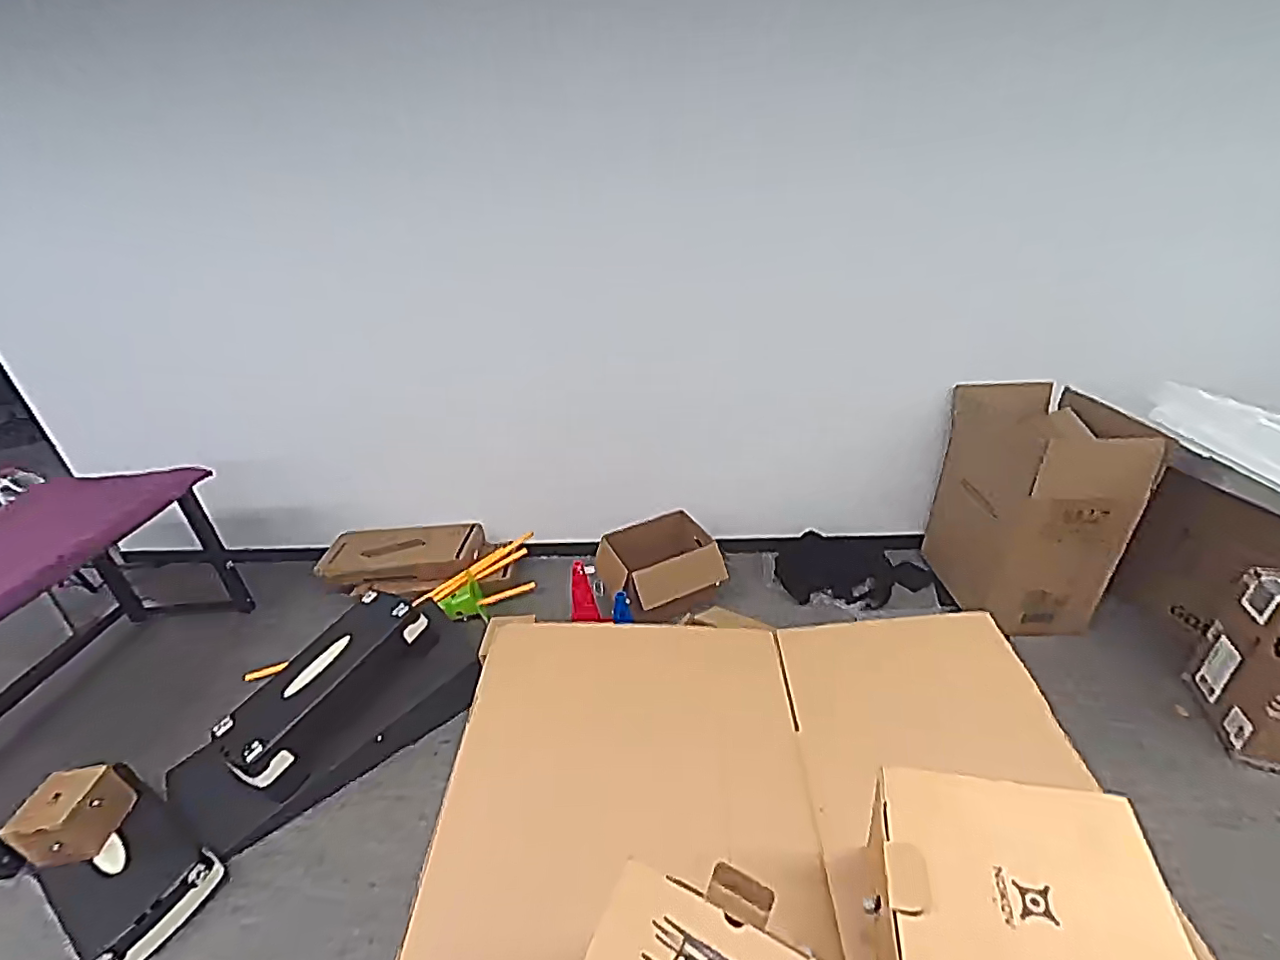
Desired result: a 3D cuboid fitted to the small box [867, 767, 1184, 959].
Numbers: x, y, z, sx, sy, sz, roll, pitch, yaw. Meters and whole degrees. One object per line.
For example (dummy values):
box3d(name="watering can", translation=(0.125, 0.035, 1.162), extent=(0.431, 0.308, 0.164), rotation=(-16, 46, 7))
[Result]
box3d(name="small box", translation=(0.284, 0.362, 0.427), extent=(0.179, 0.176, 0.168), rotation=(0, 36, 18))
